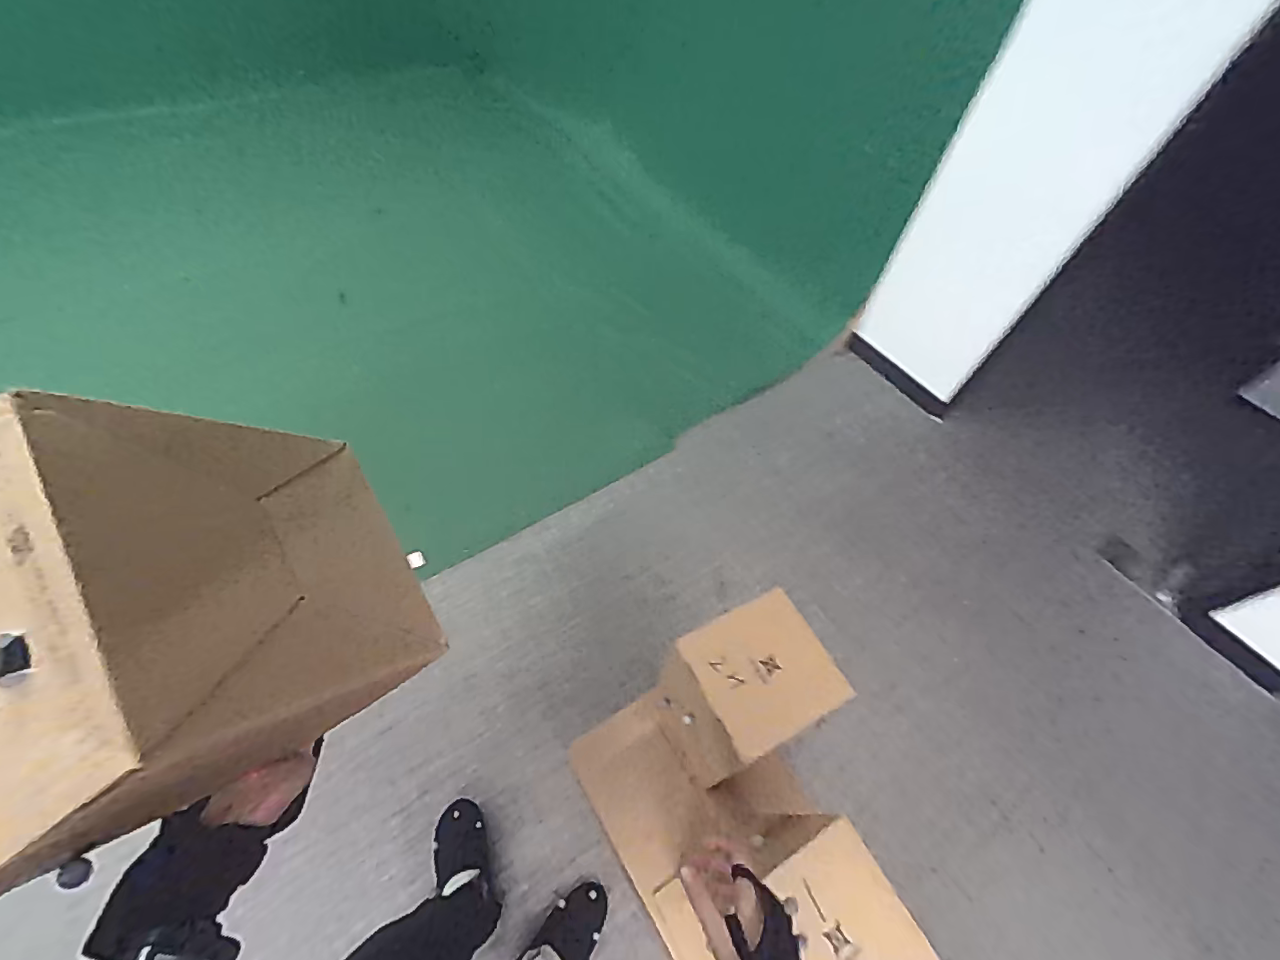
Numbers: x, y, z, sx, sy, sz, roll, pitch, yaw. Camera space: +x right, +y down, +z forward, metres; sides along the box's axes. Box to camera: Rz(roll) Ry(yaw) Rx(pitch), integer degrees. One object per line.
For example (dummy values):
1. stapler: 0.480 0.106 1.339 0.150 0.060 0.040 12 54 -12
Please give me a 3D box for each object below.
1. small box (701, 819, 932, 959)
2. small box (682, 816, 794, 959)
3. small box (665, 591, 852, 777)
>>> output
1. small box: 0.191 0.514 0.609 0.168 0.176 0.179 -23 62 -19
2. small box: 0.174 0.601 0.747 0.168 0.176 0.179 -25 62 -18
3. small box: 0.151 0.288 0.760 0.179 0.176 0.168 -22 60 -18
